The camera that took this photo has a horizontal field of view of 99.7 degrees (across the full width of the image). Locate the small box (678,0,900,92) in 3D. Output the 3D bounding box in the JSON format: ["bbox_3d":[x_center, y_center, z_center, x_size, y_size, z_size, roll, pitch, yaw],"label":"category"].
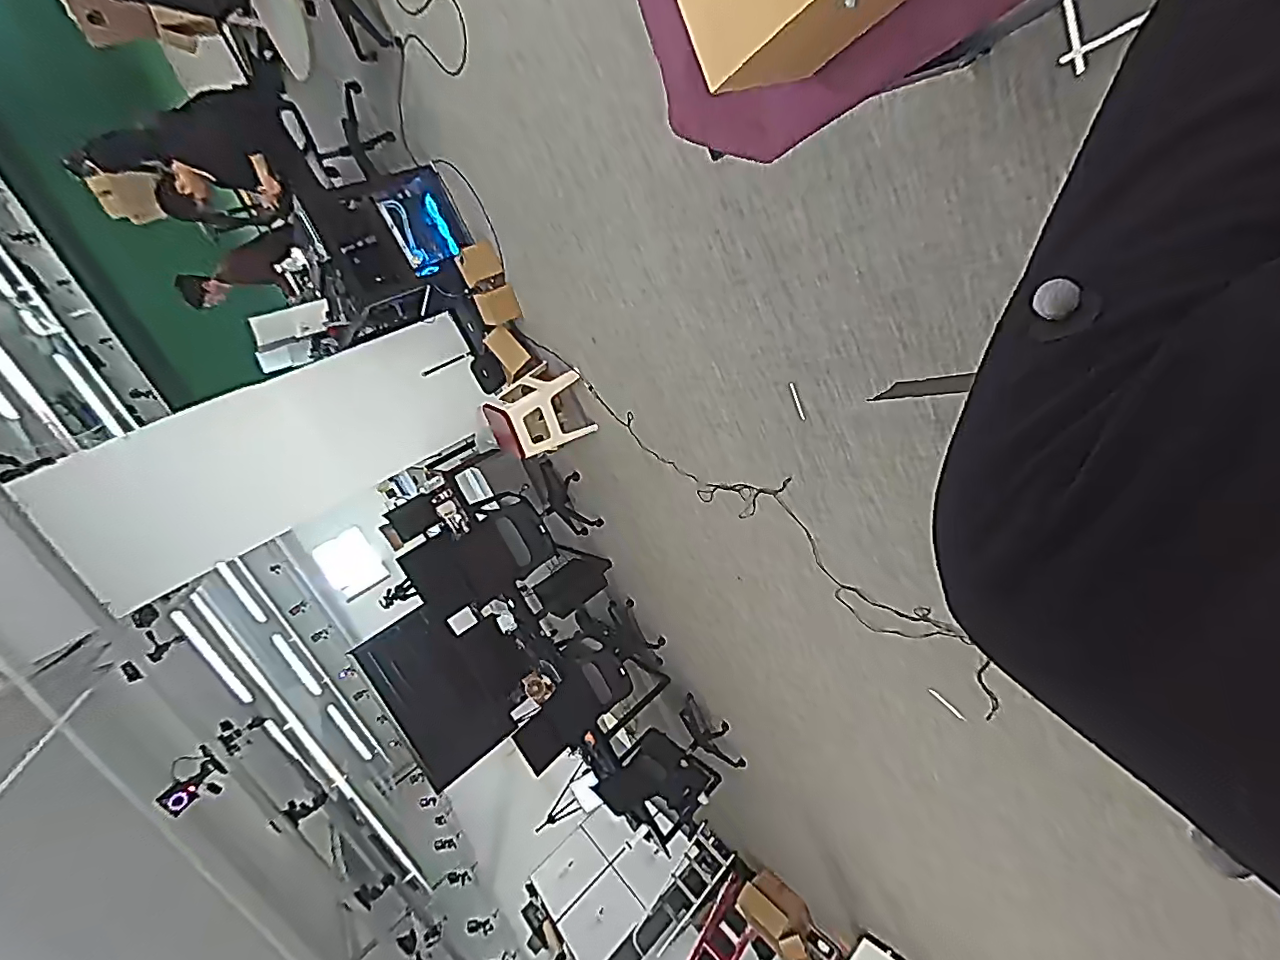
[{"bbox_3d":[0.144,-0.494,0.487,0.179,0.176,0.168,-4,115,56],"label":"small box"}]
